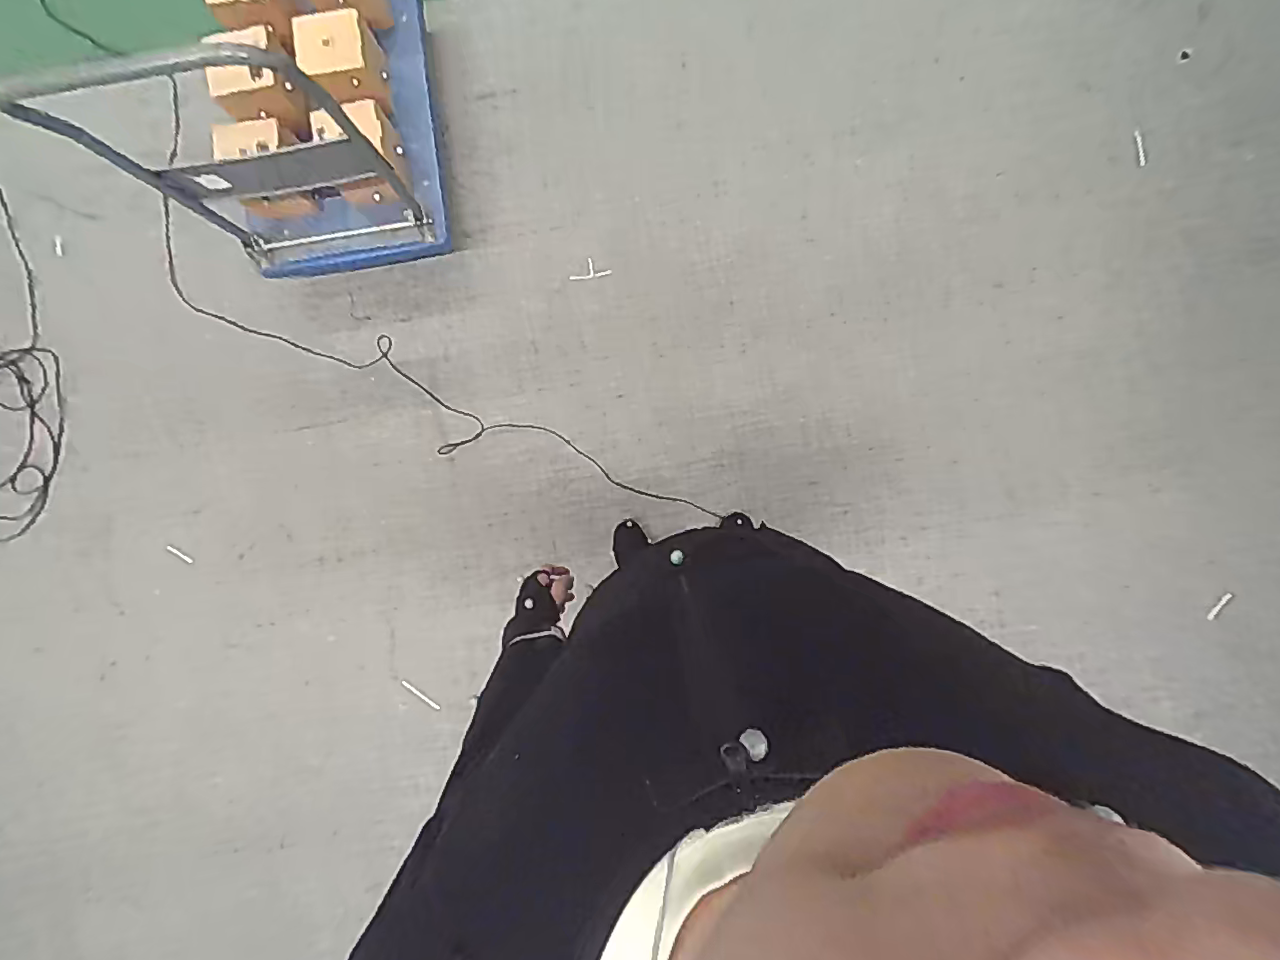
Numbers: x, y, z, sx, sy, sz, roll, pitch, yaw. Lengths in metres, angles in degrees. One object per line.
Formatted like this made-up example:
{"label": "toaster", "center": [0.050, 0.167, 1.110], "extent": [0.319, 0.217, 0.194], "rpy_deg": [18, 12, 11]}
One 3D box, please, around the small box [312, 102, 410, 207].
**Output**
{"label": "small box", "center": [-0.745, -0.874, 1.465], "extent": [0.179, 0.176, 0.168], "rpy_deg": [-11, 87, 1]}

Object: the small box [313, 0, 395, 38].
{"label": "small box", "center": [-0.805, -1.366, 1.488], "extent": [0.179, 0.176, 0.168], "rpy_deg": [-8, 90, 0]}

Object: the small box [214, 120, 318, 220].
{"label": "small box", "center": [-1.005, -0.836, 1.471], "extent": [0.179, 0.176, 0.168], "rpy_deg": [-6, 87, 2]}

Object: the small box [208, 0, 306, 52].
{"label": "small box", "center": [-1.055, -1.329, 1.498], "extent": [0.168, 0.176, 0.179], "rpy_deg": [-5, 87, 0]}
